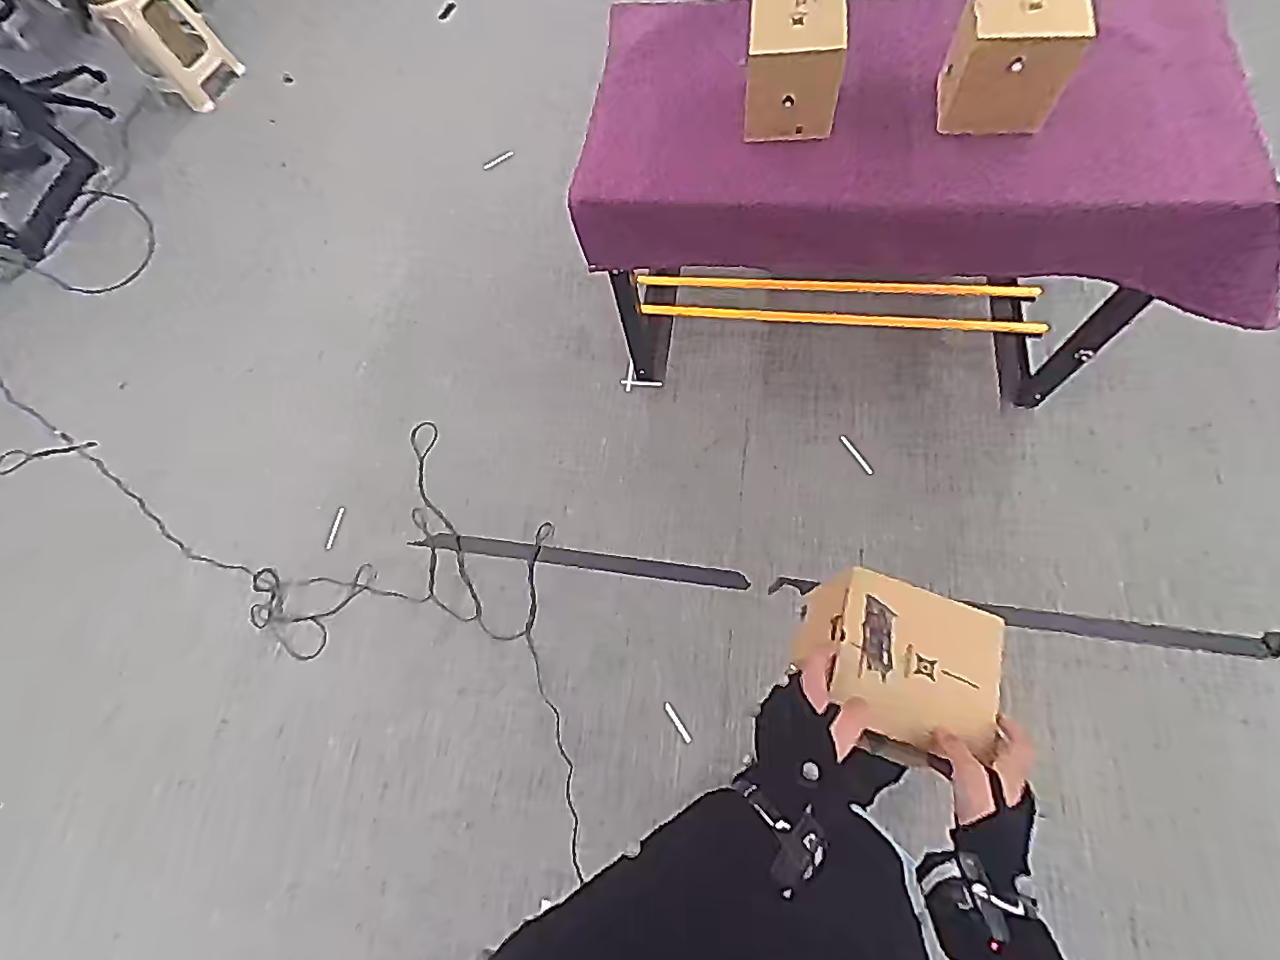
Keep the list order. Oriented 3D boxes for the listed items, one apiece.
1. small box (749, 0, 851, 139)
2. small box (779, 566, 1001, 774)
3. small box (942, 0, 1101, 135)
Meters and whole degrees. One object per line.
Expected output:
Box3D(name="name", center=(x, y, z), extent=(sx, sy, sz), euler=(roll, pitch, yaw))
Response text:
Box3D(name="small box", center=(0.297, -0.777, 1.023), extent=(0.168, 0.176, 0.179), euler=(4, 70, 9))
Box3D(name="small box", center=(0.282, 0.225, 0.638), extent=(0.179, 0.176, 0.168), euler=(20, 66, 4))
Box3D(name="small box", center=(0.665, -0.745, 0.960), extent=(0.179, 0.176, 0.168), euler=(8, 71, 12))
